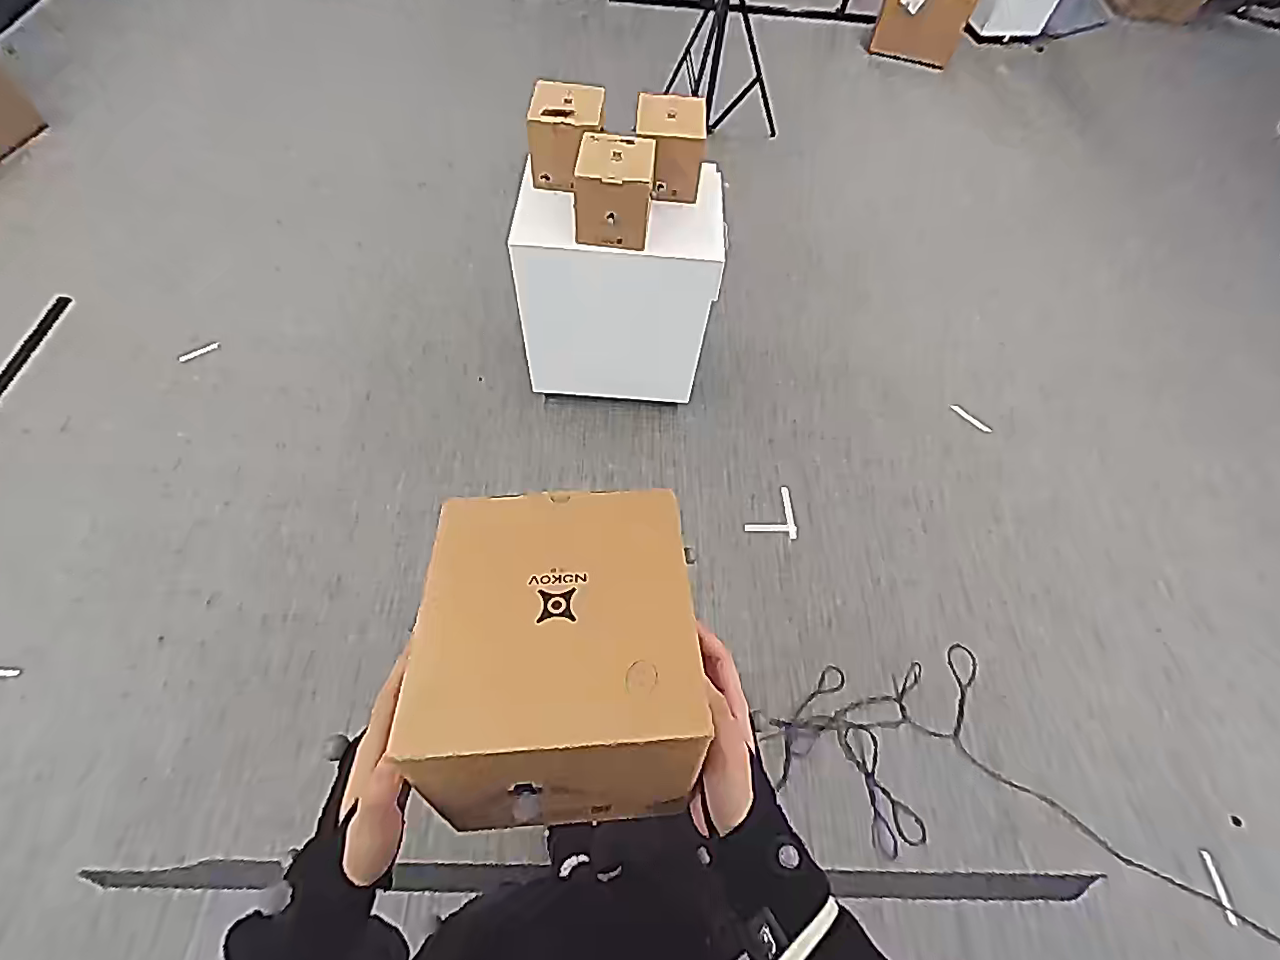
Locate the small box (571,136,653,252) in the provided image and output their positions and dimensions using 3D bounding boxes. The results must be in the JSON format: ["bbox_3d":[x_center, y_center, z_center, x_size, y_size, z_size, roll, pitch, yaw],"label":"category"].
[{"bbox_3d":[-0.062,-0.656,1.252,0.168,0.176,0.179,6,60,-1],"label":"small box"}]

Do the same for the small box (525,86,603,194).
[{"bbox_3d":[-0.182,-0.837,1.343,0.168,0.176,0.179,5,60,-2],"label":"small box"}]

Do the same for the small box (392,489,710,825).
[{"bbox_3d":[-0.051,0.129,0.386,0.168,0.176,0.179,-3,46,-5],"label":"small box"}]

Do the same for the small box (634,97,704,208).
[{"bbox_3d":[0.067,-0.816,1.354,0.168,0.176,0.179,3,62,-1],"label":"small box"}]
